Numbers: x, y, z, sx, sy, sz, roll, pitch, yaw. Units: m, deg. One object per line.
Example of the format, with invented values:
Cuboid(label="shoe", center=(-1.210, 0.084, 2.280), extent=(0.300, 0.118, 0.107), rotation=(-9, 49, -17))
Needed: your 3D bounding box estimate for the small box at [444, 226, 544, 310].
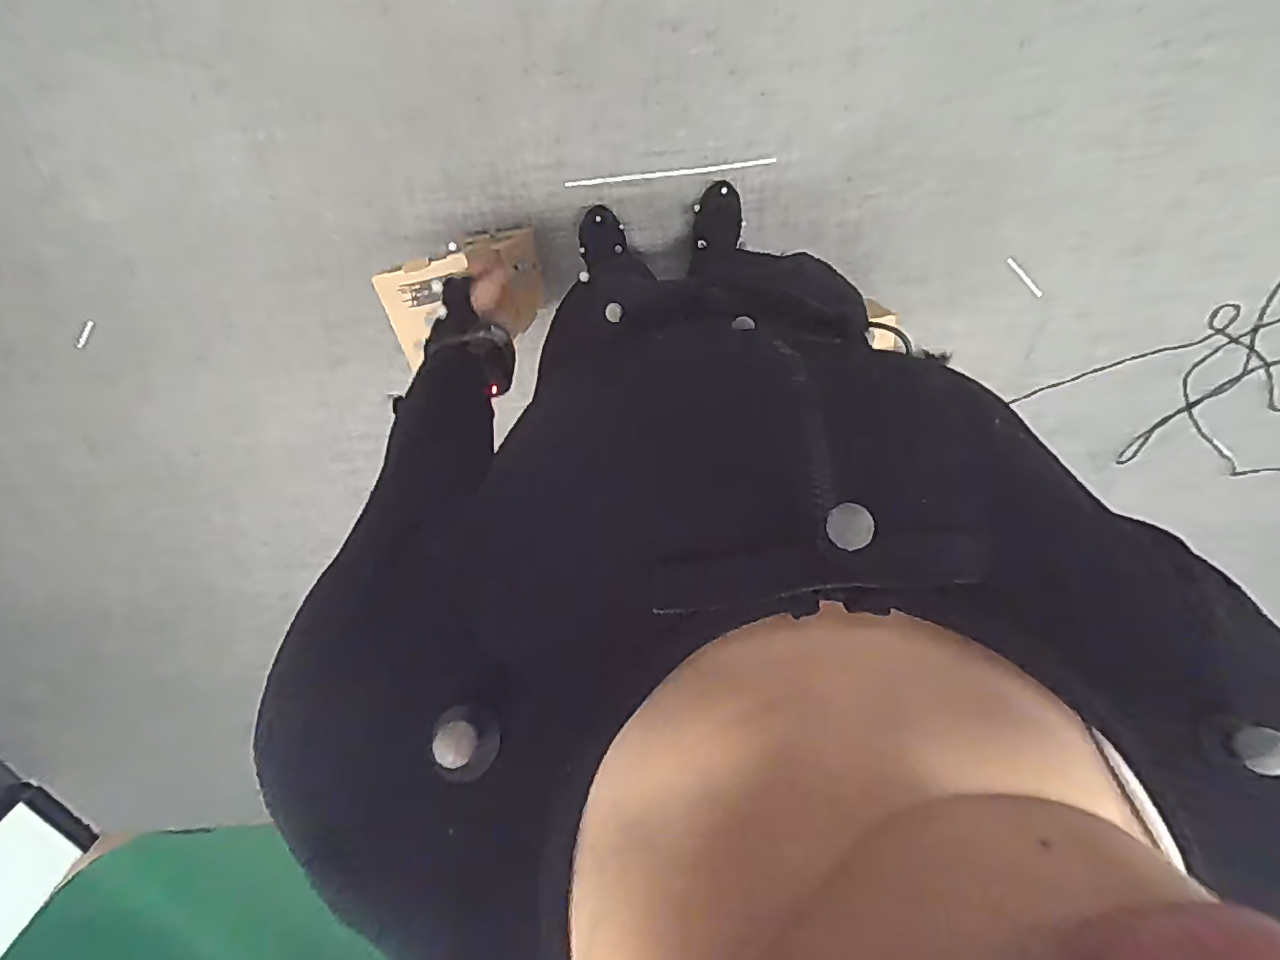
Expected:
Cuboid(label="small box", center=(-0.329, -0.490, 1.267), extent=(0.179, 0.176, 0.168), rotation=(-6, 120, 4))

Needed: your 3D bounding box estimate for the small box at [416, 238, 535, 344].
Cuboid(label="small box", center=(-0.330, -0.399, 1.132), extent=(0.179, 0.176, 0.168), rotation=(-8, 119, 7))
